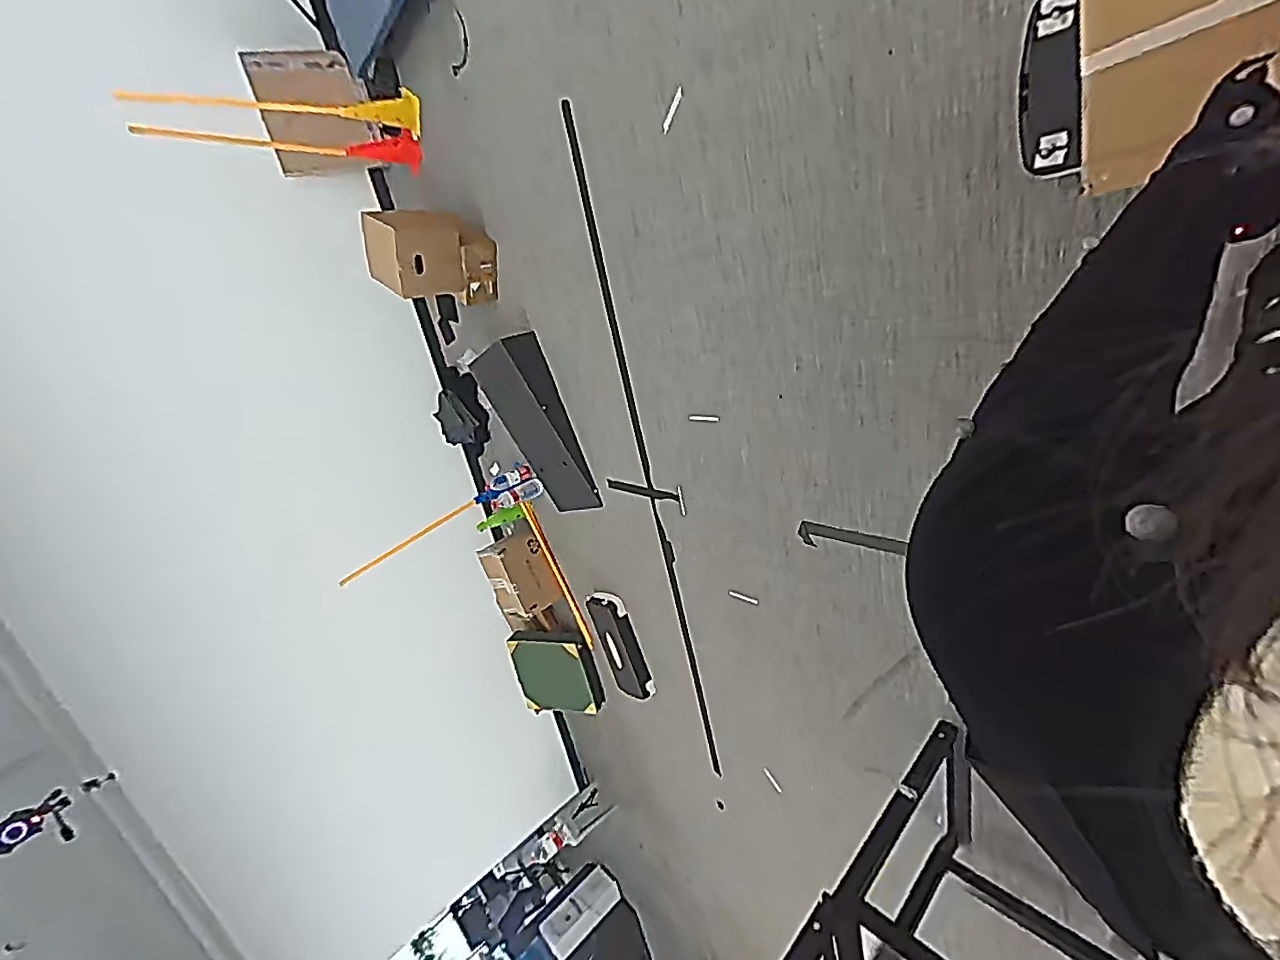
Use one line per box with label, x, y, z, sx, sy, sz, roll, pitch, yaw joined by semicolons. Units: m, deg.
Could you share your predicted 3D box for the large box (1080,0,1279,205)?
large box;0.792;-0.550;0.610;0.408;0.320;0.320;7;116;51
